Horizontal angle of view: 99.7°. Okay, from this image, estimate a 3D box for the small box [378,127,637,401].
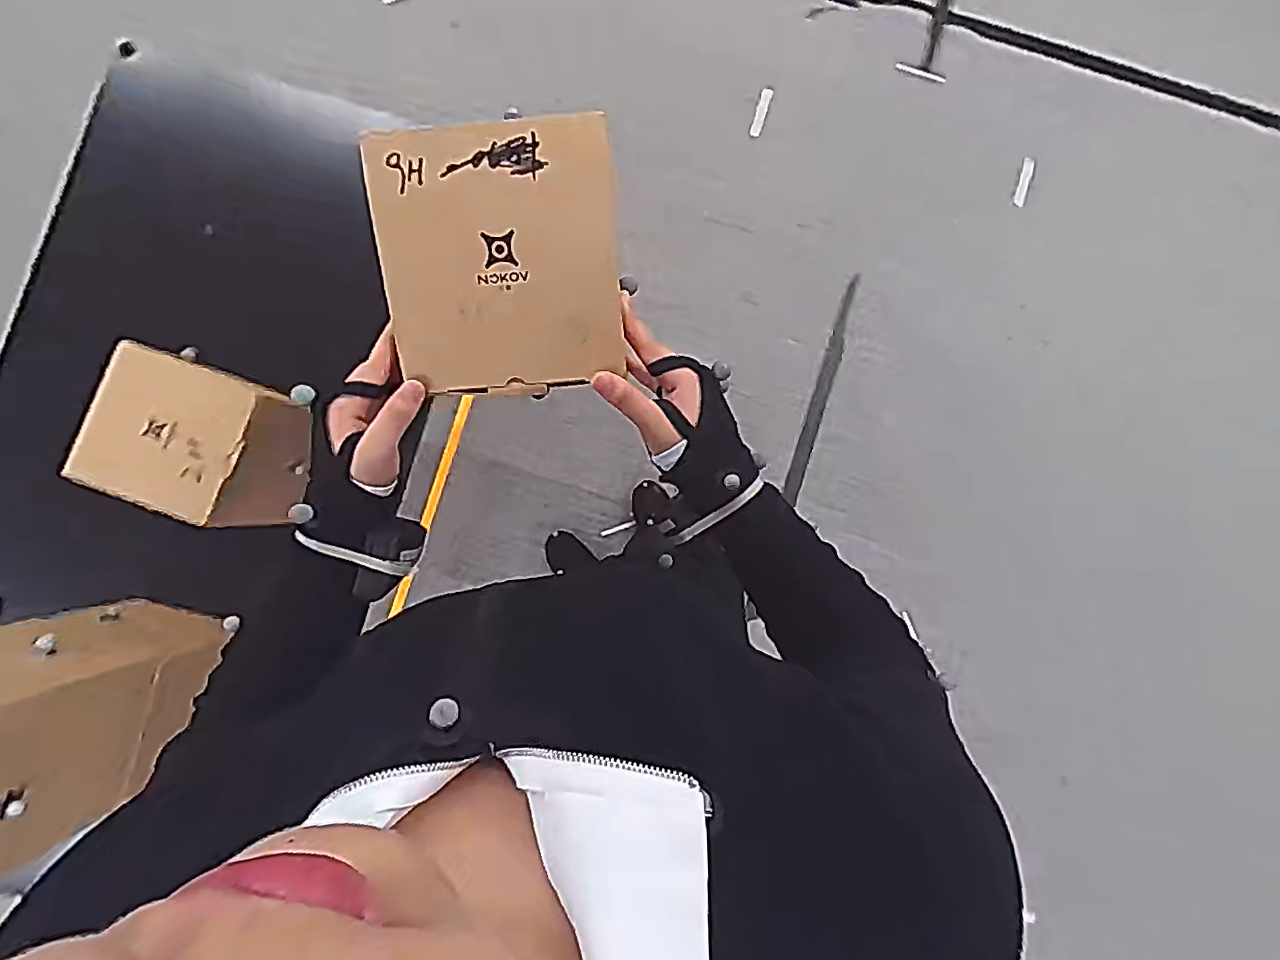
[{"bbox_3d":[-0.088,-0.169,0.456,0.168,0.176,0.179,-3,106,1],"label":"small box"}]

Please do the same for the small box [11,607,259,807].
[{"bbox_3d":[-0.633,0.266,0.677,0.179,0.176,0.168,13,88,-2],"label":"small box"}]

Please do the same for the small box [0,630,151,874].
[{"bbox_3d":[-0.626,0.260,0.512,0.168,0.176,0.179,12,87,-1],"label":"small box"}]

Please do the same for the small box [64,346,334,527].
[{"bbox_3d":[-0.543,-0.045,0.693,0.179,0.176,0.168,21,87,0],"label":"small box"}]
